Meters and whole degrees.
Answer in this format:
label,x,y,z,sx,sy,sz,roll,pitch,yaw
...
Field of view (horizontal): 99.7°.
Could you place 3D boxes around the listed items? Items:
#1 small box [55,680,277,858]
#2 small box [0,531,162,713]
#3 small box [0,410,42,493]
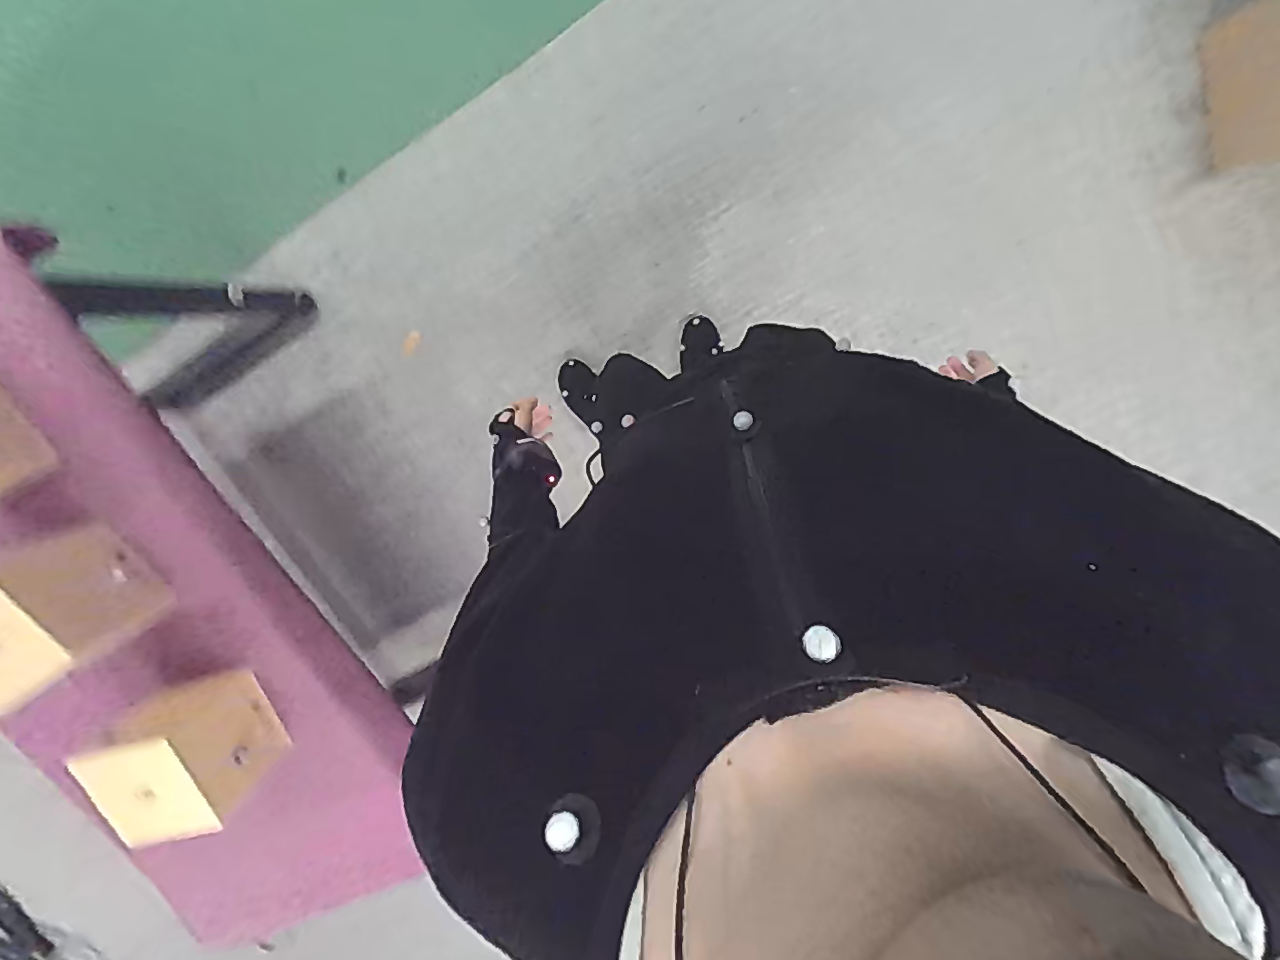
label,x,y,z,sx,sy,sz,roll,pitch,yaw
small box,-0.716,0.442,0.848,0.179,0.176,0.168,-16,106,8
small box,-0.866,0.203,0.781,0.179,0.176,0.168,-32,103,11
small box,-0.981,-0.034,0.713,0.168,0.176,0.179,-26,104,11
